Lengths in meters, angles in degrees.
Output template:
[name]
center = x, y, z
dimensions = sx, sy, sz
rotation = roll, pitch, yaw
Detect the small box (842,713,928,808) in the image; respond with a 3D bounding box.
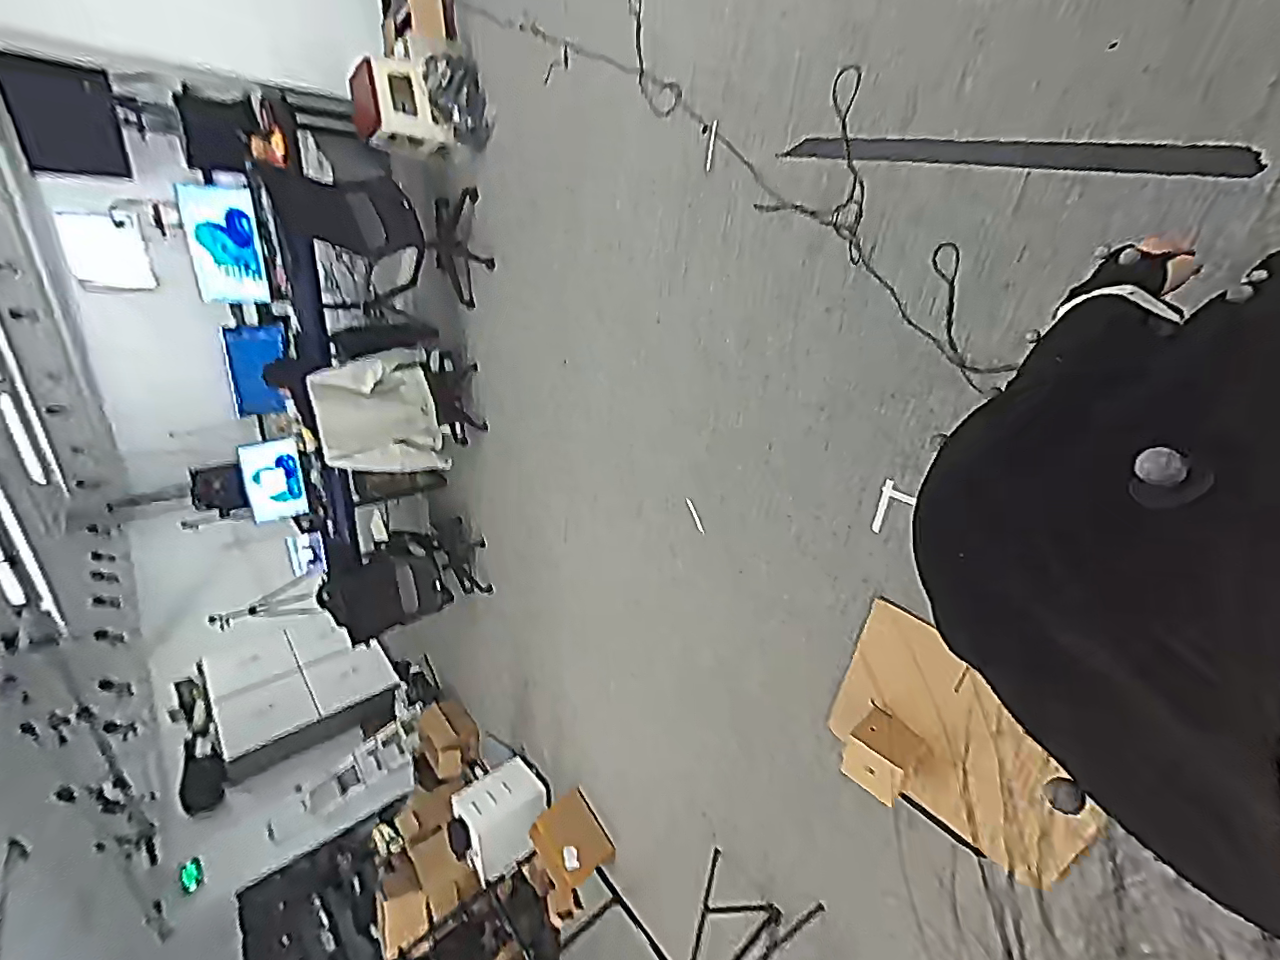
[small box]
center = 0.771, 0.871, 1.704
dimensions = 0.179, 0.176, 0.168
rotation = 24, 122, 42
